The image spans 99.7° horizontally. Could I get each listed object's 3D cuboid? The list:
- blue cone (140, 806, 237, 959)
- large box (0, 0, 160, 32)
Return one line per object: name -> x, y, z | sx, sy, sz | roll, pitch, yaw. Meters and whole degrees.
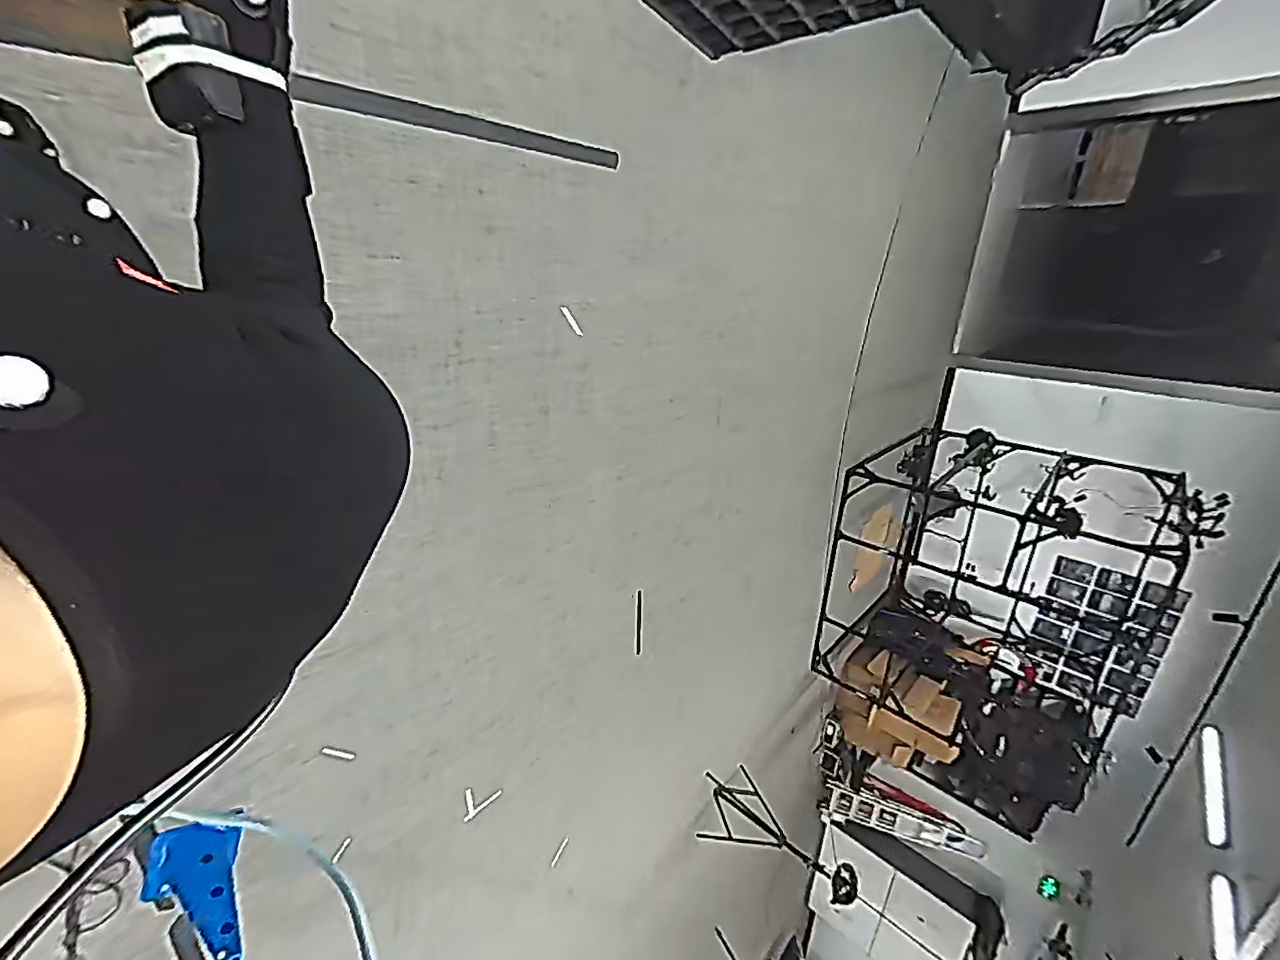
blue cone -> -1.074, 1.024, 1.335 | 0.193, 0.380, 0.192 | 10, 98, -52
large box -> -0.536, -0.475, 0.254 | 0.408, 0.320, 0.320 | -20, 128, -44
